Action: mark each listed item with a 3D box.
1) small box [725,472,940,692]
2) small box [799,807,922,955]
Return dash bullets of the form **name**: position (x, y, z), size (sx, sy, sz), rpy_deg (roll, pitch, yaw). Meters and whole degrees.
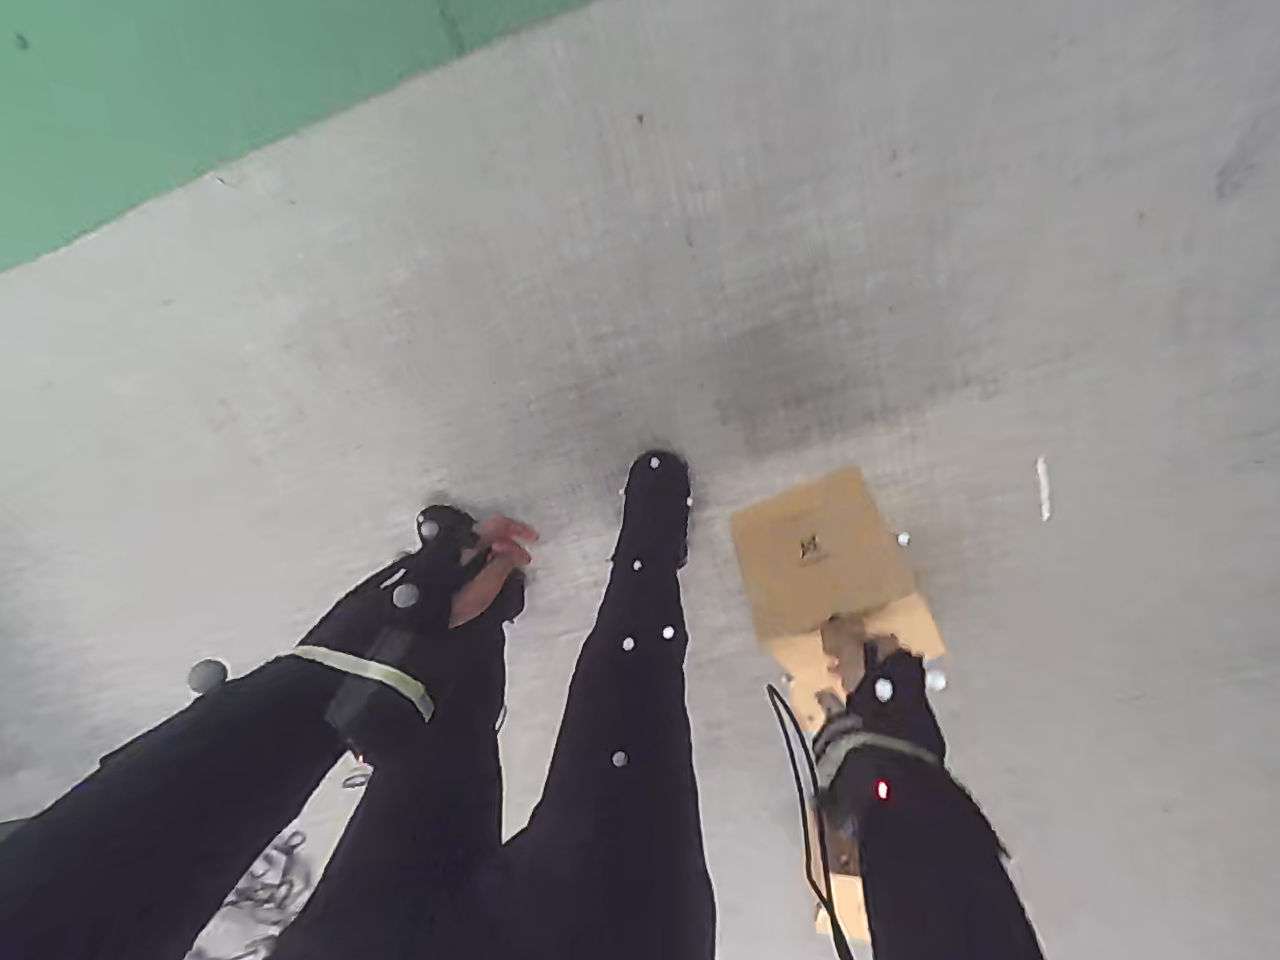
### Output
- **small box**: position (0.222, 0.129, 0.630), size (0.168, 0.179, 0.176), rpy_deg (-26, 134, 18)
- **small box**: position (0.426, 0.787, 1.075), size (0.179, 0.176, 0.168), rpy_deg (4, 108, 6)
